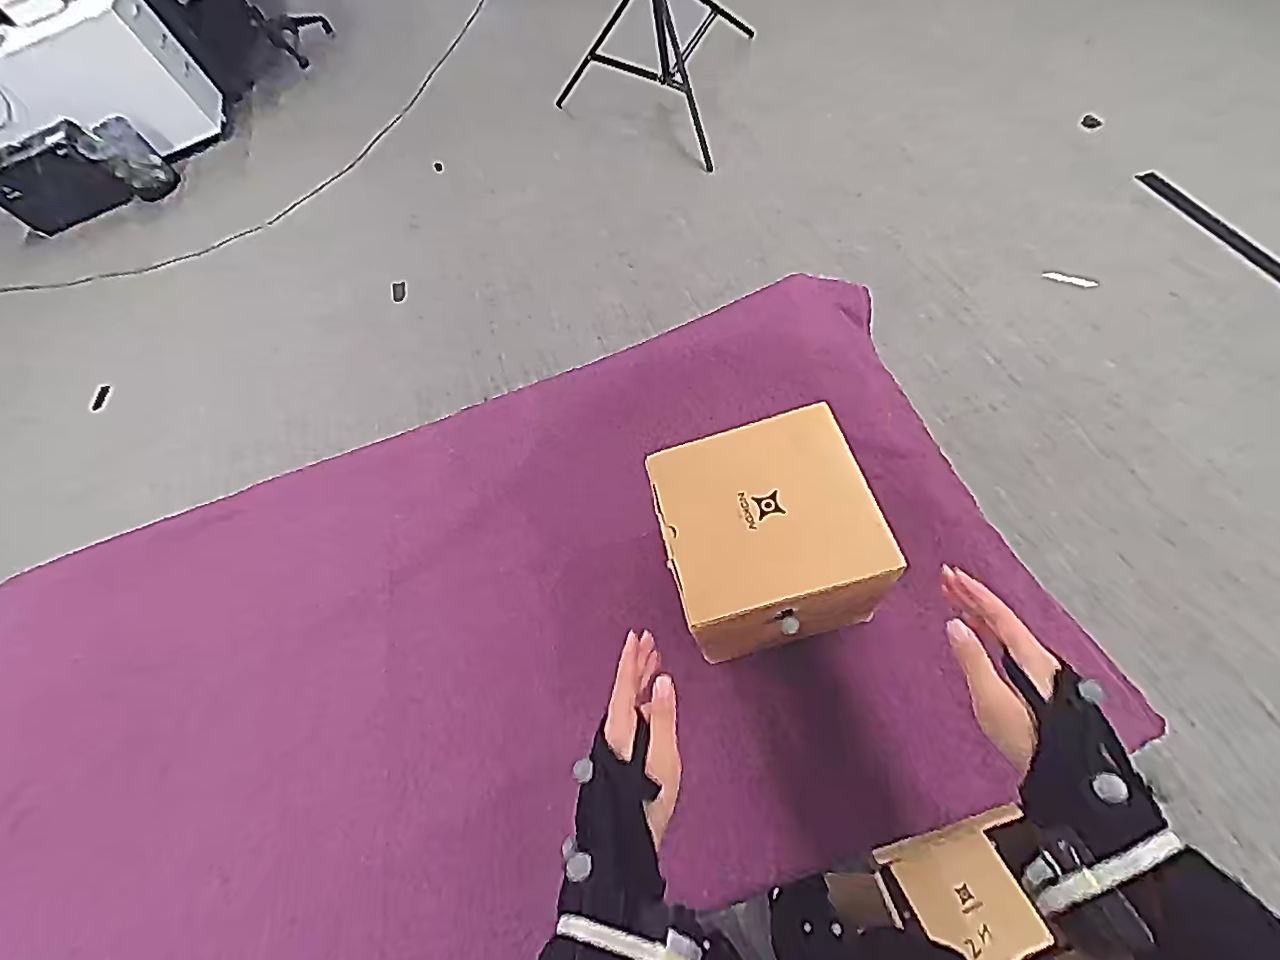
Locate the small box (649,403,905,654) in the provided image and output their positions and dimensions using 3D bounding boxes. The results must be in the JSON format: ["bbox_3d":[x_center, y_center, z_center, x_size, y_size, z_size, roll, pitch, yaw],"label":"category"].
[{"bbox_3d":[0.122,0.057,0.529,0.179,0.176,0.168,-17,60,5],"label":"small box"}]
